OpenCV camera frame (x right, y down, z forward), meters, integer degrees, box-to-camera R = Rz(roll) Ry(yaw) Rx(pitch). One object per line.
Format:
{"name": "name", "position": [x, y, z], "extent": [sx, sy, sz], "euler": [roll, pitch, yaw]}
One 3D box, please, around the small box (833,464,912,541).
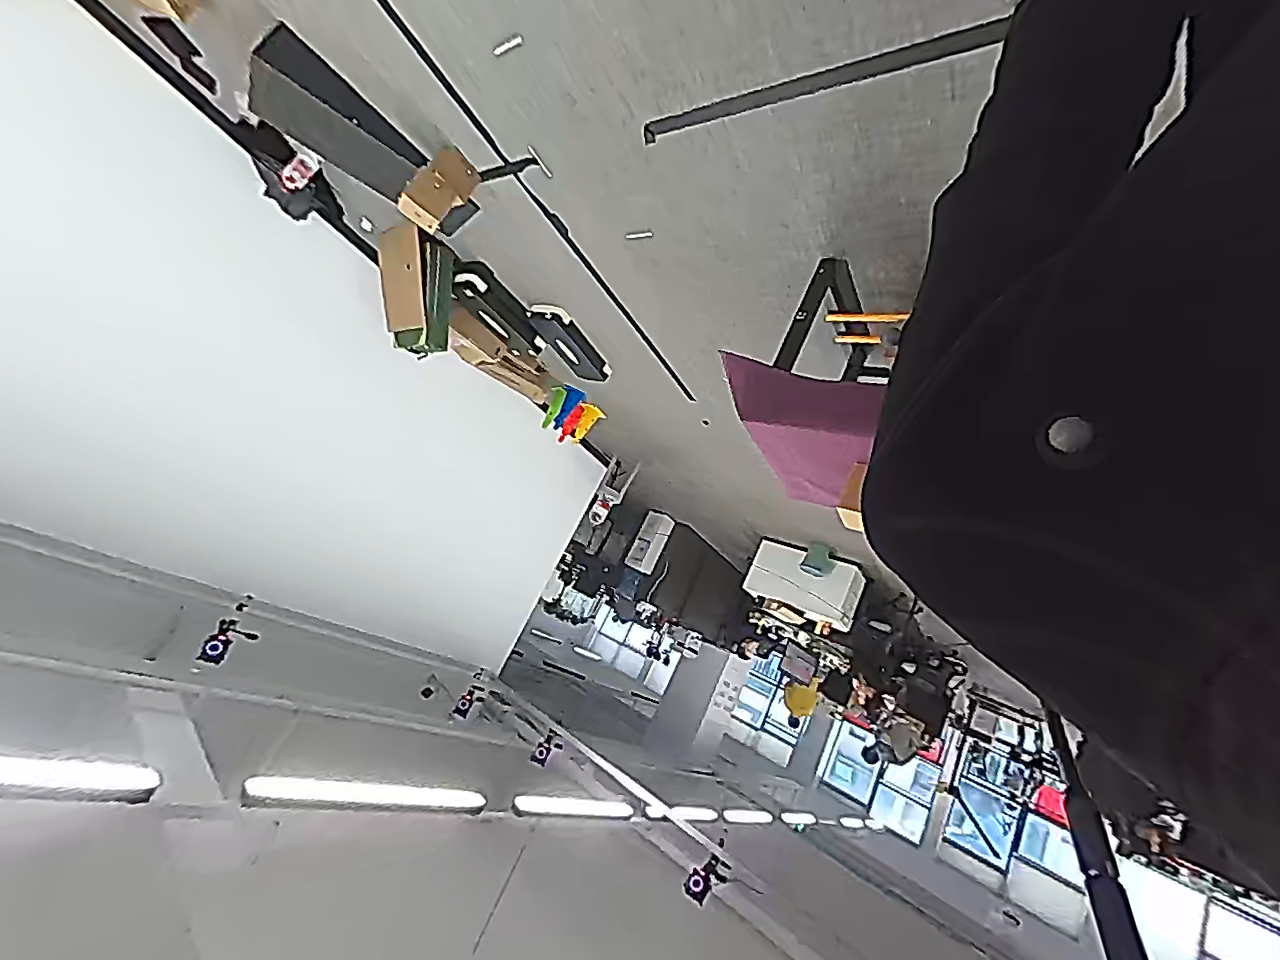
{"name": "small box", "position": [0.738, 0.067, 1.708], "extent": [0.179, 0.176, 0.168], "euler": [15, 162, 37]}
